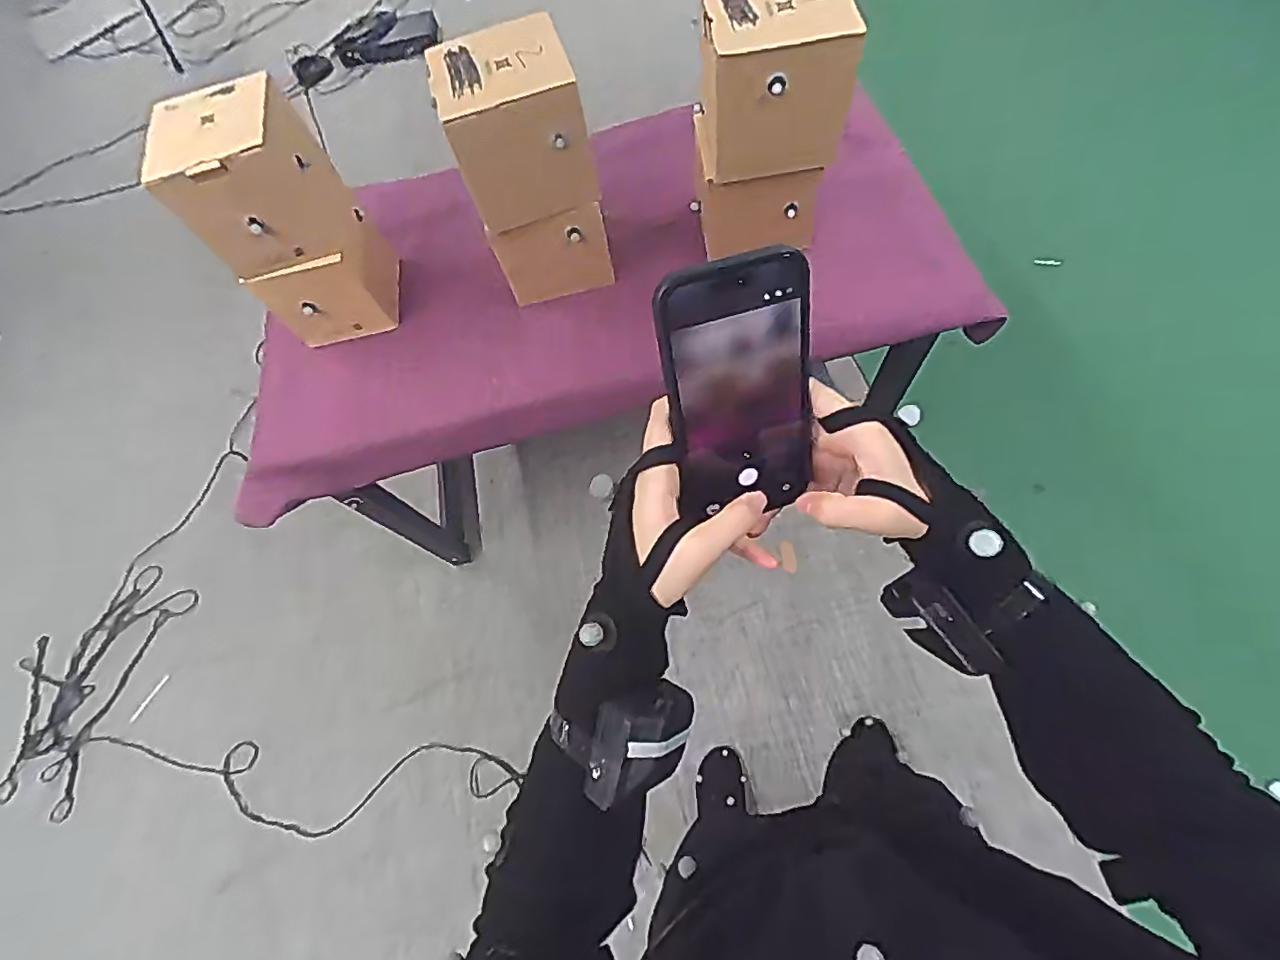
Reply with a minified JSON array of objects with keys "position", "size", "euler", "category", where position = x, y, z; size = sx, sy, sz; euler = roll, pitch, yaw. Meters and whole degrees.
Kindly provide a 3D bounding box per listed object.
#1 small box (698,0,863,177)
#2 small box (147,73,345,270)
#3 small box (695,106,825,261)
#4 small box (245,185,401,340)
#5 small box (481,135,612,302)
[{"position":[0.176,-0.542,0.731],"size":[0.179,0.176,0.168],"euler":[-7,66,4],"category":"small box"},{"position":[-0.555,-0.434,0.787],"size":[0.168,0.176,0.179],"euler":[-16,66,0],"category":"small box"},{"position":[0.187,-0.490,0.886],"size":[0.179,0.176,0.168],"euler":[-7,65,6],"category":"small box"},{"position":[-0.532,-0.362,0.933],"size":[0.168,0.176,0.179],"euler":[-12,66,3],"category":"small box"},{"position":[-0.148,-0.429,0.906],"size":[0.179,0.176,0.168],"euler":[-13,66,3],"category":"small box"}]
